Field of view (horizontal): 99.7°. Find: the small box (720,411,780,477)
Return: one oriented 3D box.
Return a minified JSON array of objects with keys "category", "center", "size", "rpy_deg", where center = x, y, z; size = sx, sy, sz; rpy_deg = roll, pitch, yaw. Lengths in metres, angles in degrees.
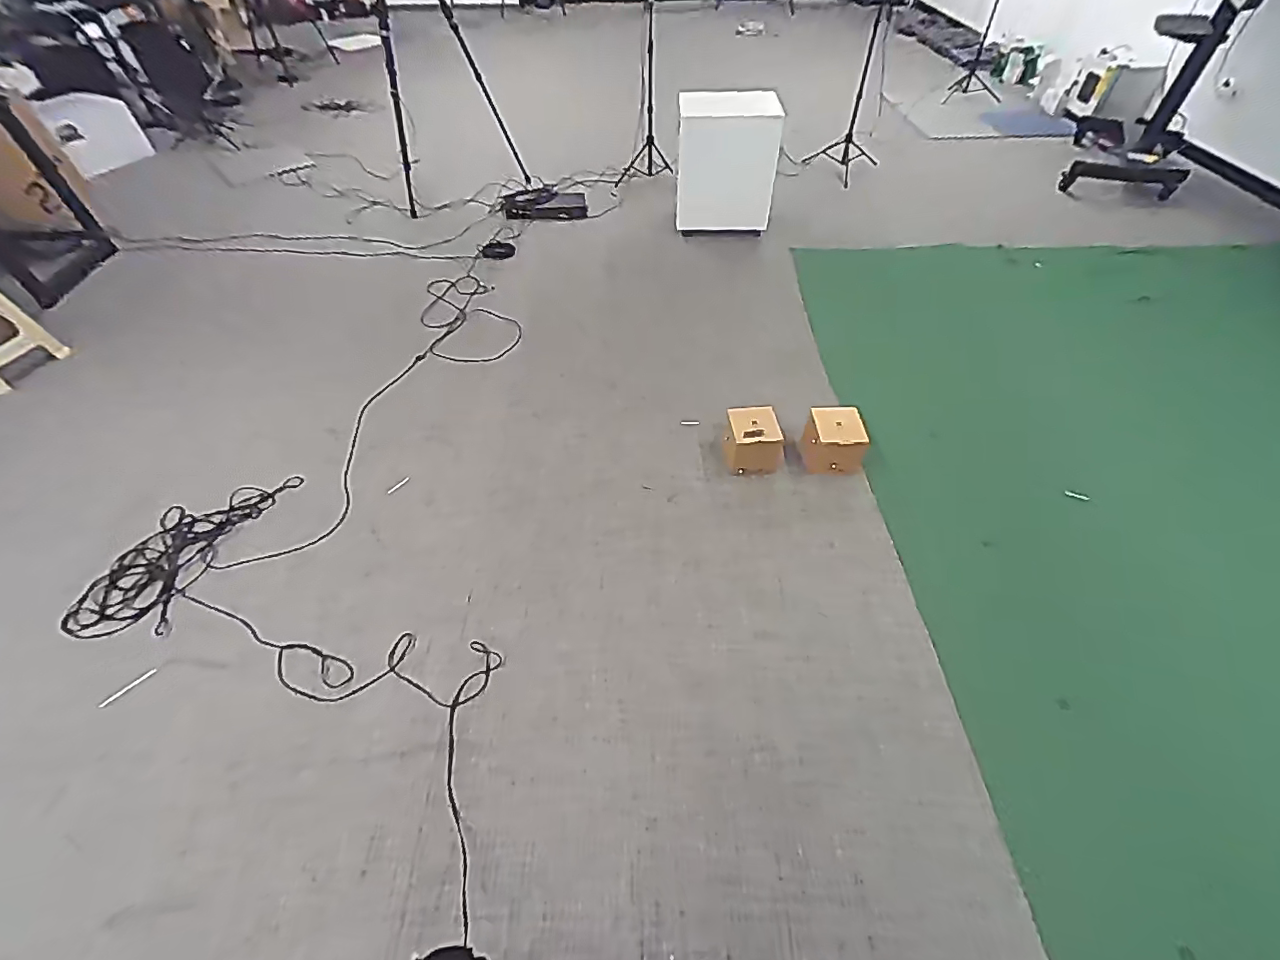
[{"category":"small box","center":[0.390,-0.124,1.940],"size":[0.168,0.176,0.179],"rpy_deg":[-4,48,-3]}]

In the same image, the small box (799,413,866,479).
[{"category":"small box","center":[0.682,-0.123,1.940],"size":[0.168,0.176,0.179],"rpy_deg":[-2,49,0]}]
